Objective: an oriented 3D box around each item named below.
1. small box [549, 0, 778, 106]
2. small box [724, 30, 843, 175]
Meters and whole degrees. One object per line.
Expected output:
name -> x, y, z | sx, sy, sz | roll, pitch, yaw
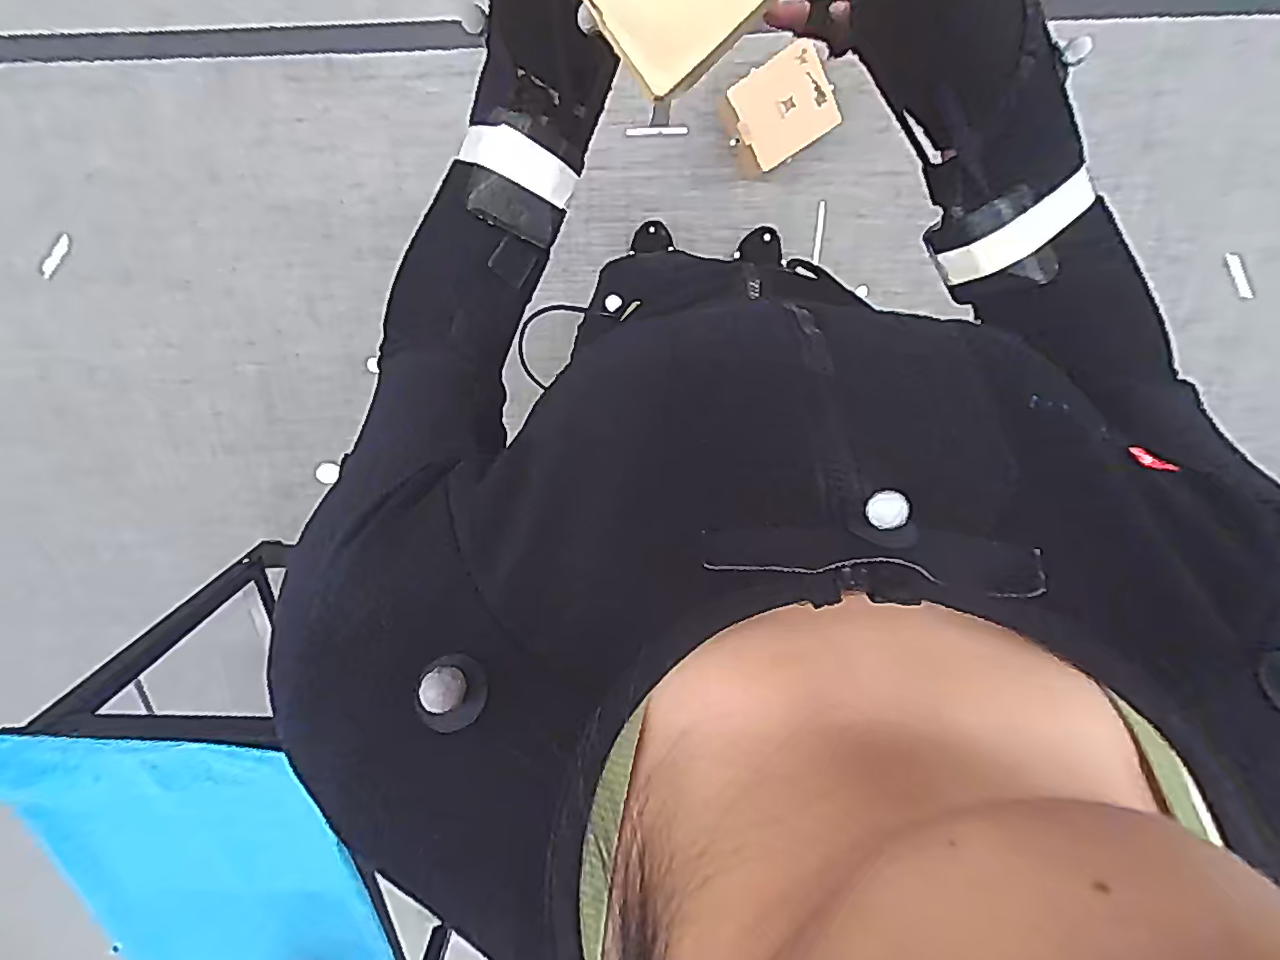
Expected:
small box -> 0.024, -0.273, 0.188 | 0.179, 0.176, 0.168 | -29, 118, 28
small box -> 0.285, -0.762, 1.118 | 0.179, 0.176, 0.168 | -30, 110, 14
